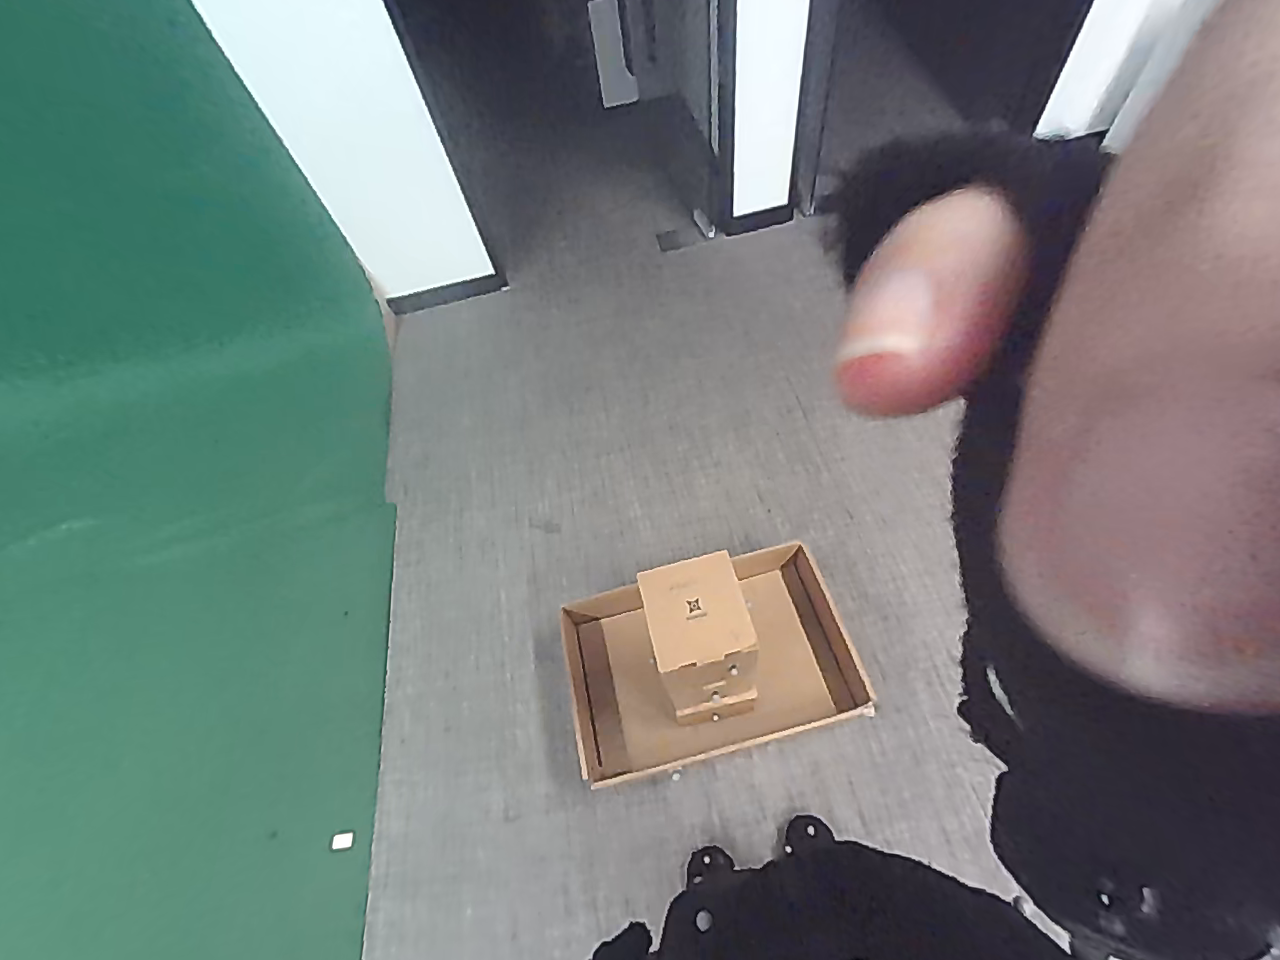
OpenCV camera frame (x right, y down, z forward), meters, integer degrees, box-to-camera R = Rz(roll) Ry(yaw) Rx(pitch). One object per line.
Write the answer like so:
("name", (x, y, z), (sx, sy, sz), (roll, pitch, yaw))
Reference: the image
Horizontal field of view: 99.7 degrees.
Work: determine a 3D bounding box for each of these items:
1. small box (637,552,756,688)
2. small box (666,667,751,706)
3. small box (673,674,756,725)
("small box", (0.100, 0.256, 0.963), (0.168, 0.176, 0.179), (-14, 55, -1))
("small box", (0.125, 0.352, 1.115), (0.168, 0.176, 0.179), (-17, 56, -1))
("small box", (0.156, 0.449, 1.239), (0.179, 0.176, 0.168), (-13, 56, 2))
